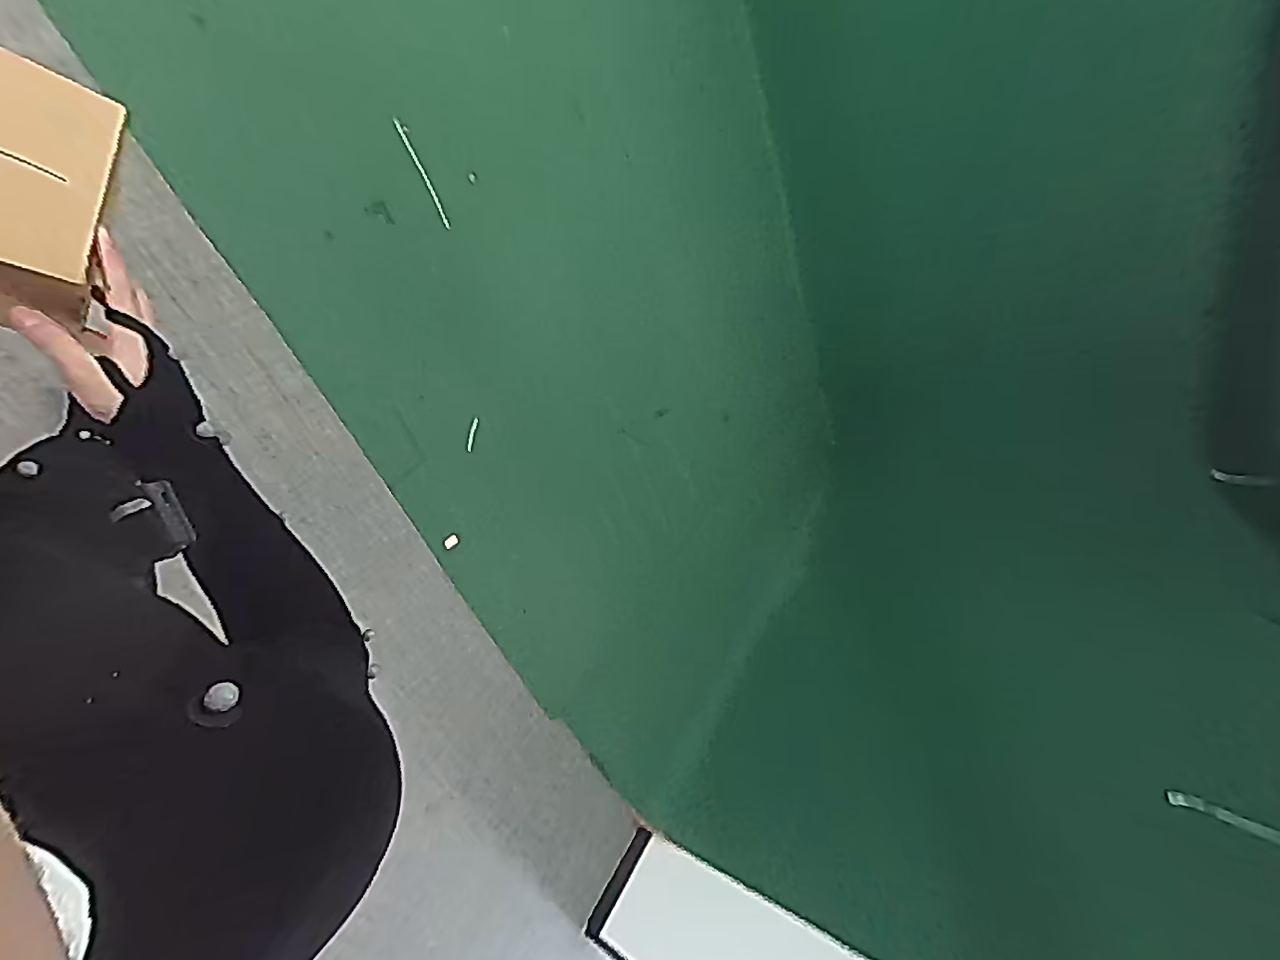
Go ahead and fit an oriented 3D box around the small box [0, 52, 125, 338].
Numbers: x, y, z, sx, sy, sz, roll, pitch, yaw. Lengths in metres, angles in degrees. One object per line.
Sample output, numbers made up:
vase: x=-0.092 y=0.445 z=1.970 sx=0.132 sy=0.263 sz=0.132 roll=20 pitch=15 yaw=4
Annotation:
small box: x=-0.550 y=-0.232 z=0.427 sx=0.179 sy=0.176 sz=0.168 roll=14 pitch=73 yaw=-45
